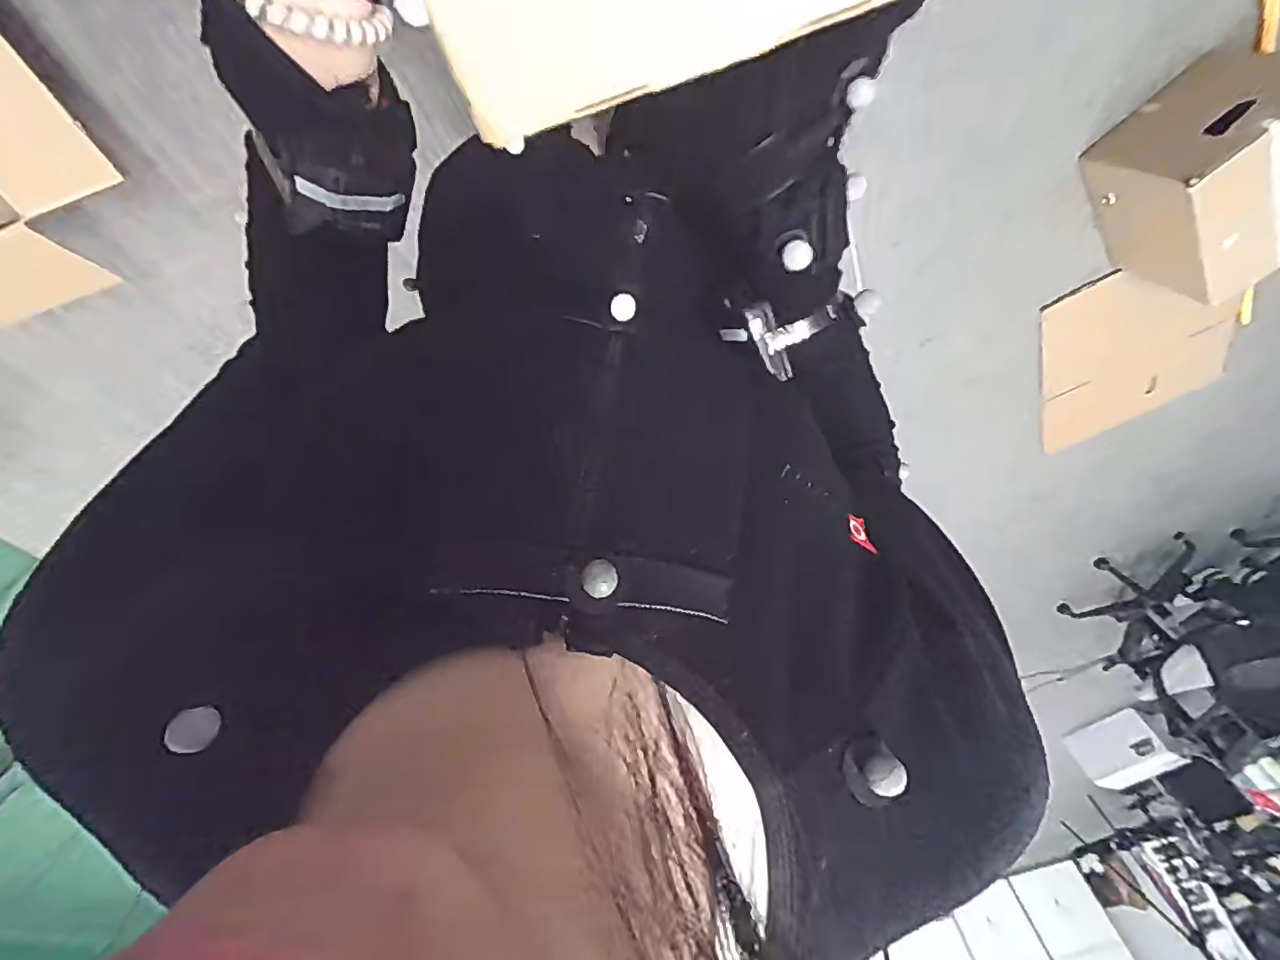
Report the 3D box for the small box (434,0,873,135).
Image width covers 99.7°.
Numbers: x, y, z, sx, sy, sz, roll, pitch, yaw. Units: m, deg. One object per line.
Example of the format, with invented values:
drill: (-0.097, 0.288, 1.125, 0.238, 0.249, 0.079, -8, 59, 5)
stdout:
small box: (-0.008, -0.254, 0.166, 0.168, 0.176, 0.179, -16, 142, 7)
